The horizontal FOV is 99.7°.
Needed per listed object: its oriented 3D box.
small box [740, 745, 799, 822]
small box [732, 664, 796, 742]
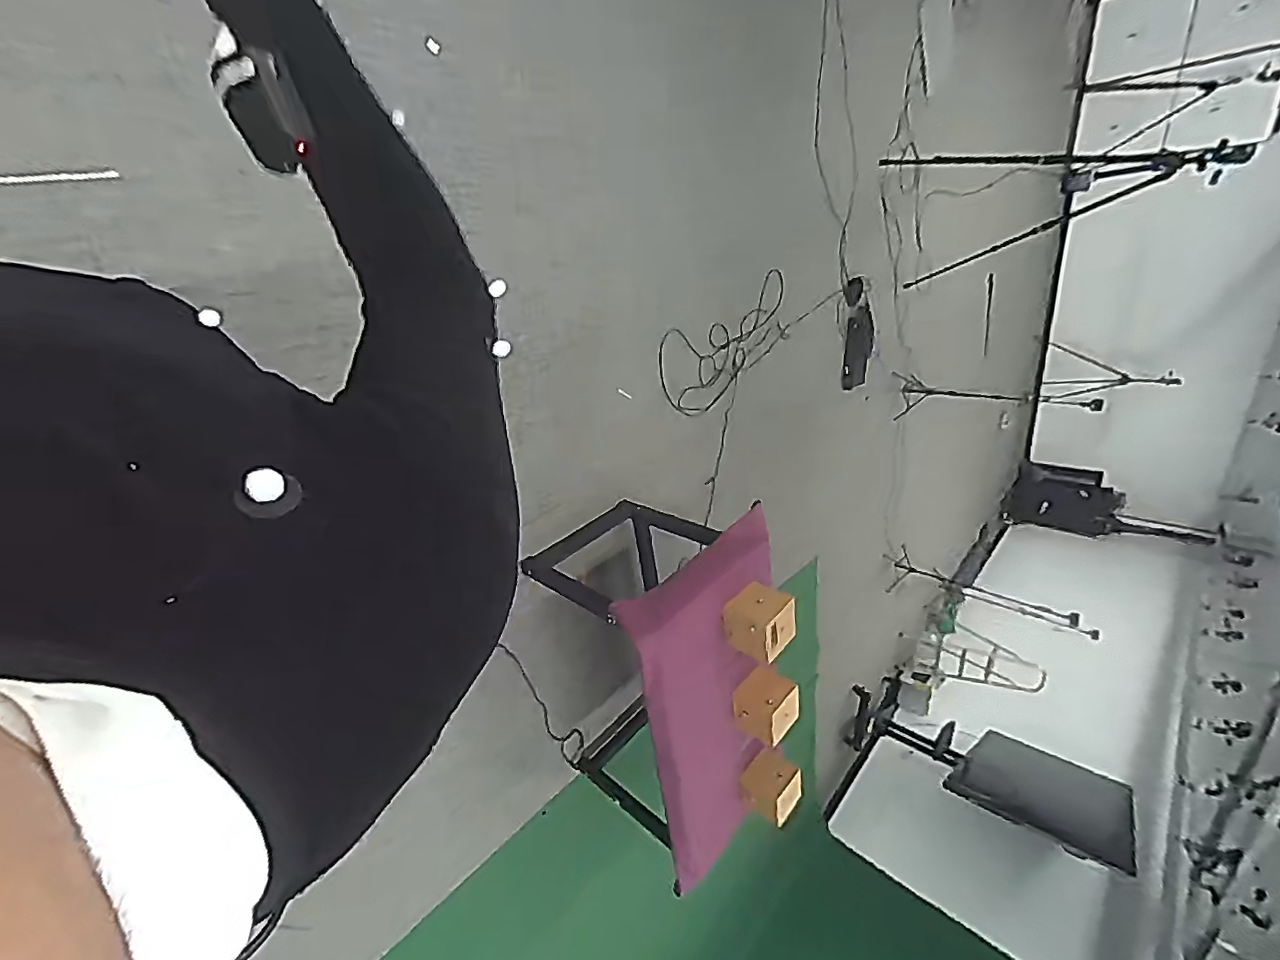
[{"bbox_3d":[0.523,1.214,2.180,0.179,0.176,0.168,-28,120,-38],"label":"small box"},{"bbox_3d":[0.460,0.816,2.001,0.179,0.176,0.168,-29,122,-37],"label":"small box"}]
